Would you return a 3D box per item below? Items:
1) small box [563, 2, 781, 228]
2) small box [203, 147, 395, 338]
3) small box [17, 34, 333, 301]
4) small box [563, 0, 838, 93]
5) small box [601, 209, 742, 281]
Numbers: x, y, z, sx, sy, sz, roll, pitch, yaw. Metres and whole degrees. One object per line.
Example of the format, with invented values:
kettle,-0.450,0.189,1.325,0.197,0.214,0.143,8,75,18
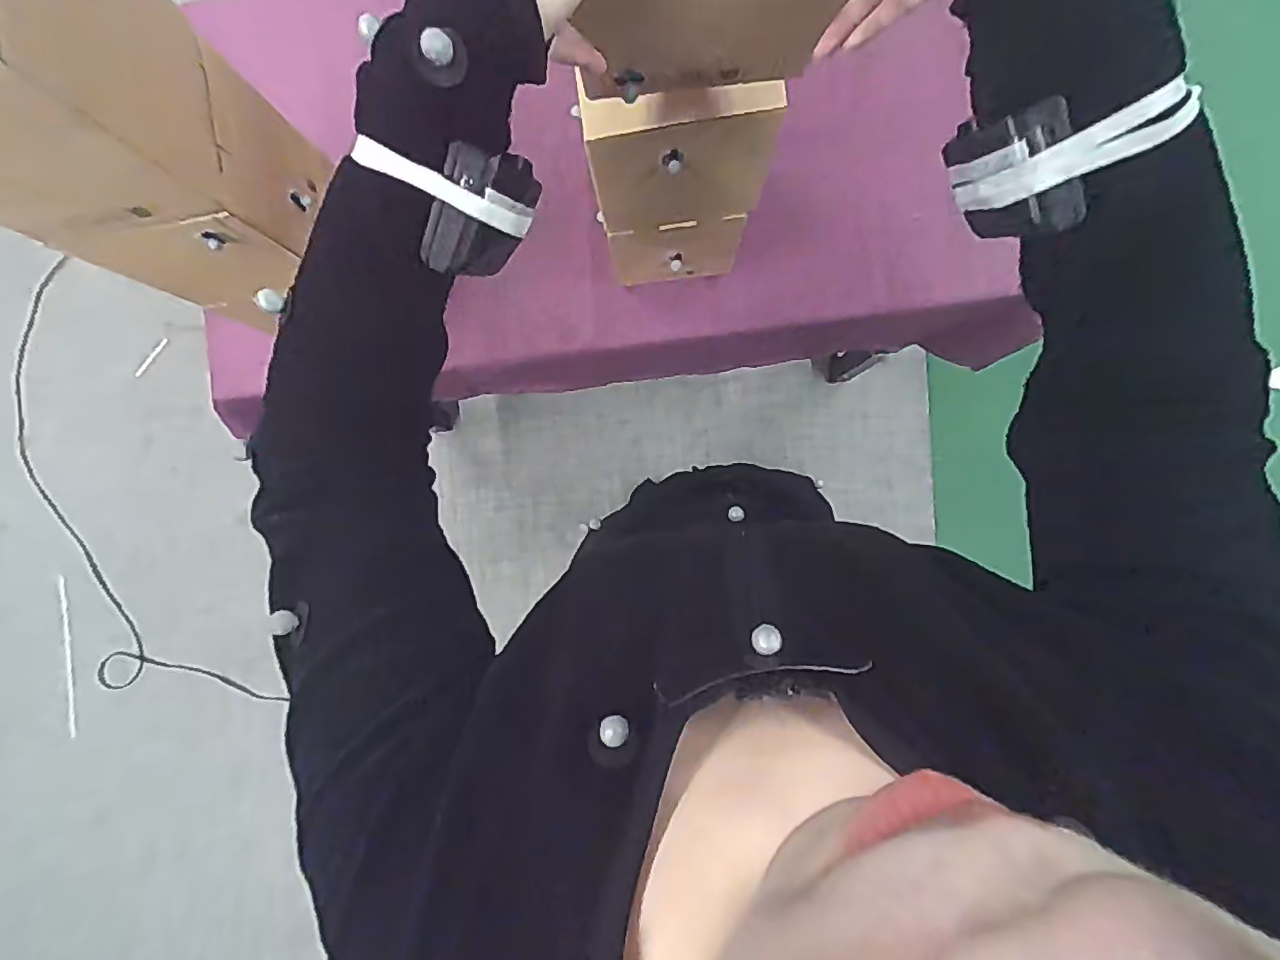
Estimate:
small box,0.030,-0.375,0.540,0.179,0.176,0.168,-7,89,2
small box,-0.450,-0.300,0.724,0.168,0.176,0.179,-8,89,1
small box,-0.460,-0.302,0.562,0.179,0.176,0.168,-10,89,0
small box,0.033,-0.354,0.310,0.168,0.176,0.179,-5,102,1
small box,0.034,-0.375,0.706,0.168,0.176,0.179,-6,90,2
